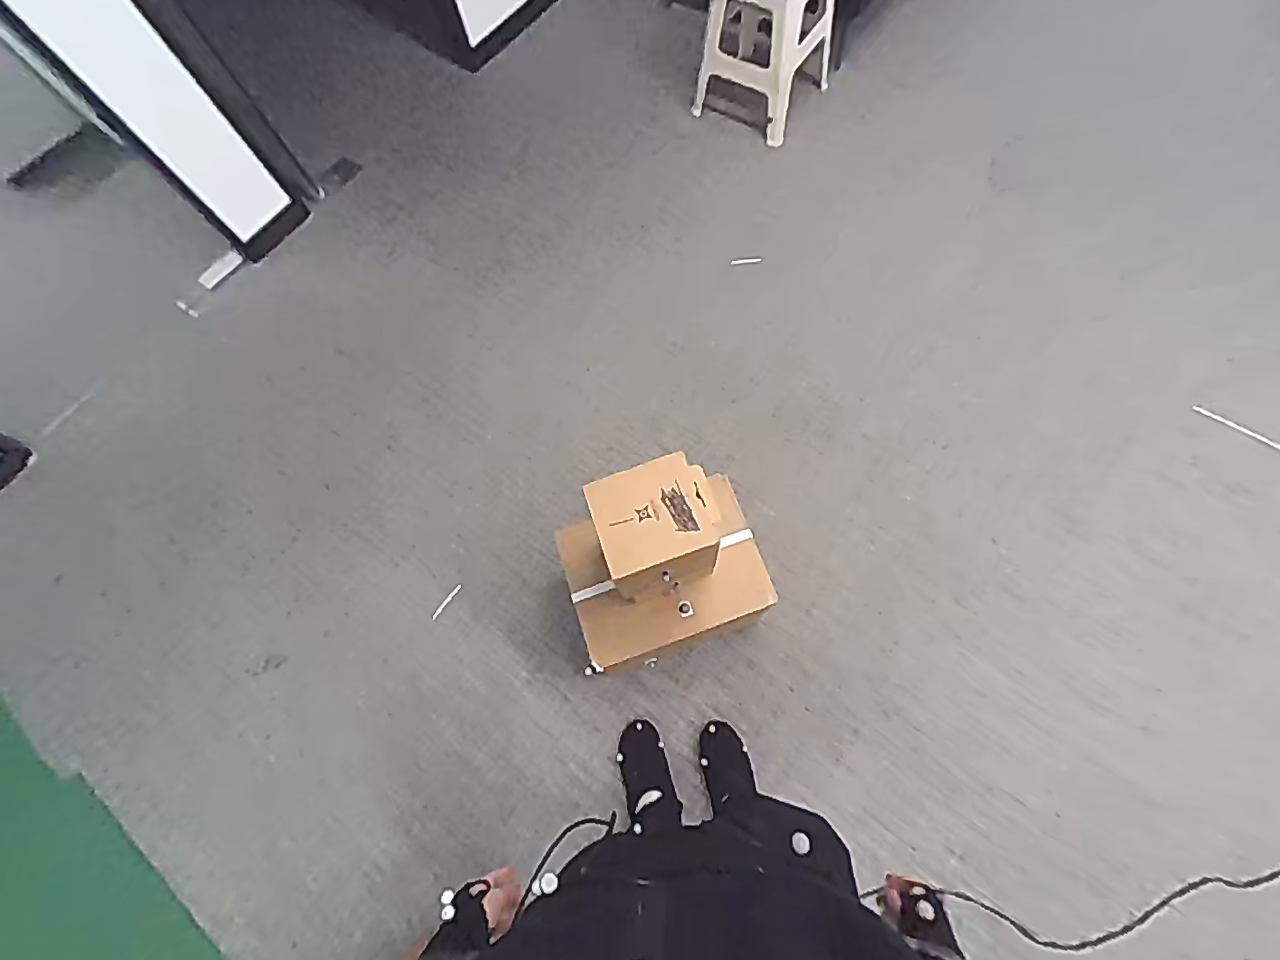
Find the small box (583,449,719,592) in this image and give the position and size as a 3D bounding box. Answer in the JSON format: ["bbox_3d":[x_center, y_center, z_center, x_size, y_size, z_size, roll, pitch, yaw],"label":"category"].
[{"bbox_3d":[0.020,0.075,0.911,0.179,0.176,0.168,-19,68,-2],"label":"small box"}]

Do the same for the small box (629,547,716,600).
[{"bbox_3d":[0.033,0.119,1.070,0.179,0.176,0.168,-23,67,-6],"label":"small box"}]

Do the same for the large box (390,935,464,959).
[{"bbox_3d":[-0.432,1.164,0.963,0.320,0.320,0.408,20,73,12],"label":"large box"}]
